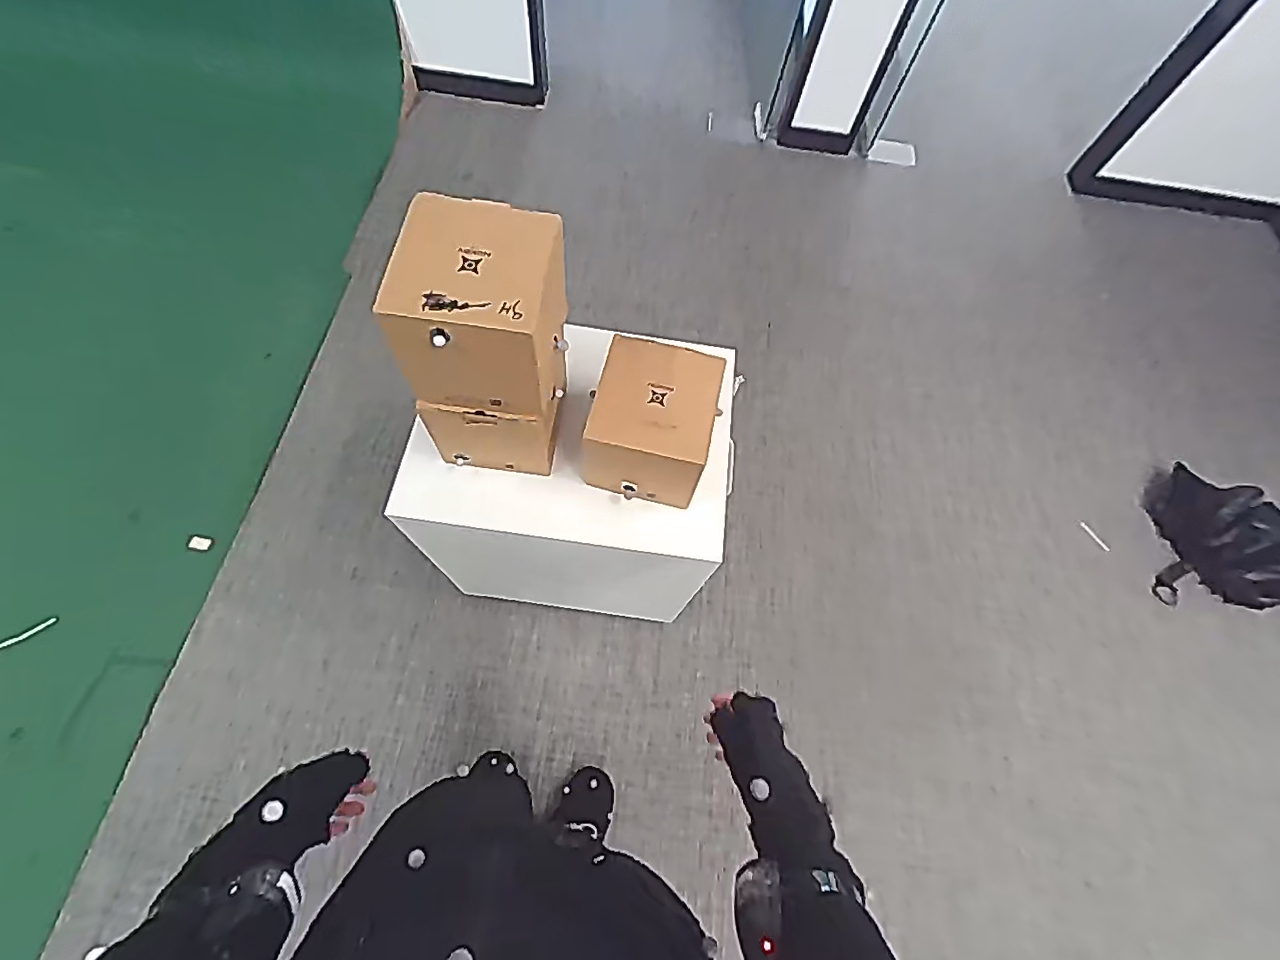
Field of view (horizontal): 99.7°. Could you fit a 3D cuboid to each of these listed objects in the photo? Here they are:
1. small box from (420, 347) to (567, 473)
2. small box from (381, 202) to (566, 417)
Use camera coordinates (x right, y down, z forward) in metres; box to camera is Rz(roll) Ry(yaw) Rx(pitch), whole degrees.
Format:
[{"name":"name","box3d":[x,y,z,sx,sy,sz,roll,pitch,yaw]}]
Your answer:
[{"name":"small box","box3d":[-0.205,-0.126,0.812,0.168,0.176,0.179,8,64,-2]},{"name":"small box","box3d":[-0.186,-0.202,0.668,0.168,0.176,0.179,7,64,-2]}]
